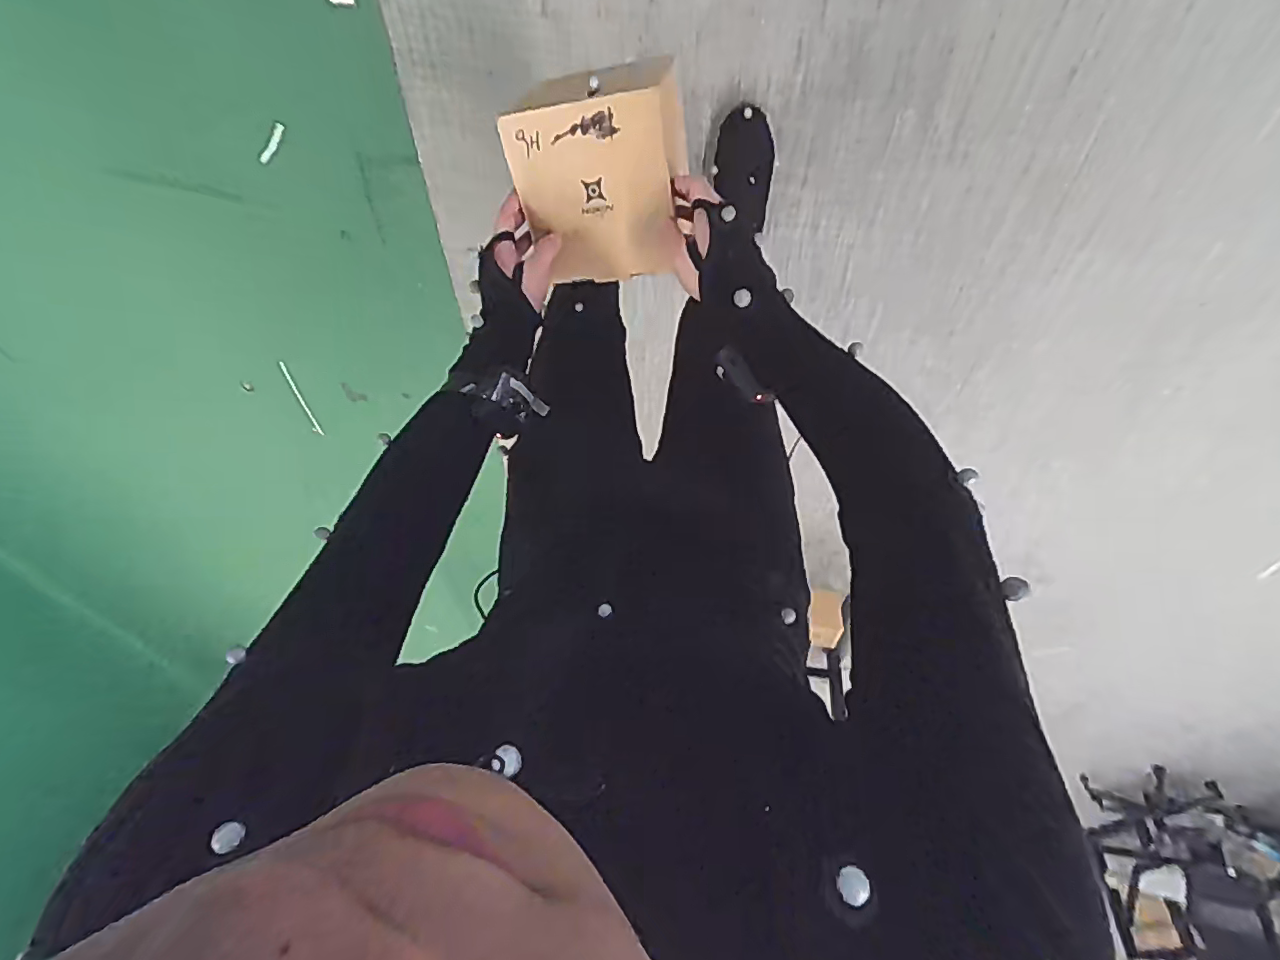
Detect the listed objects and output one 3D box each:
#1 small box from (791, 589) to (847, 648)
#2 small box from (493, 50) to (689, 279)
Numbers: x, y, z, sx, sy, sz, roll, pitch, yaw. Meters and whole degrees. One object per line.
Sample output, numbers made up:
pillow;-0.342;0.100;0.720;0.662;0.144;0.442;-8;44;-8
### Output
small box;0.711;0.552;2.164;0.179;0.176;0.168;5;138;7
small box;-0.038;-0.356;0.617;0.168;0.176;0.179;-1;136;13
